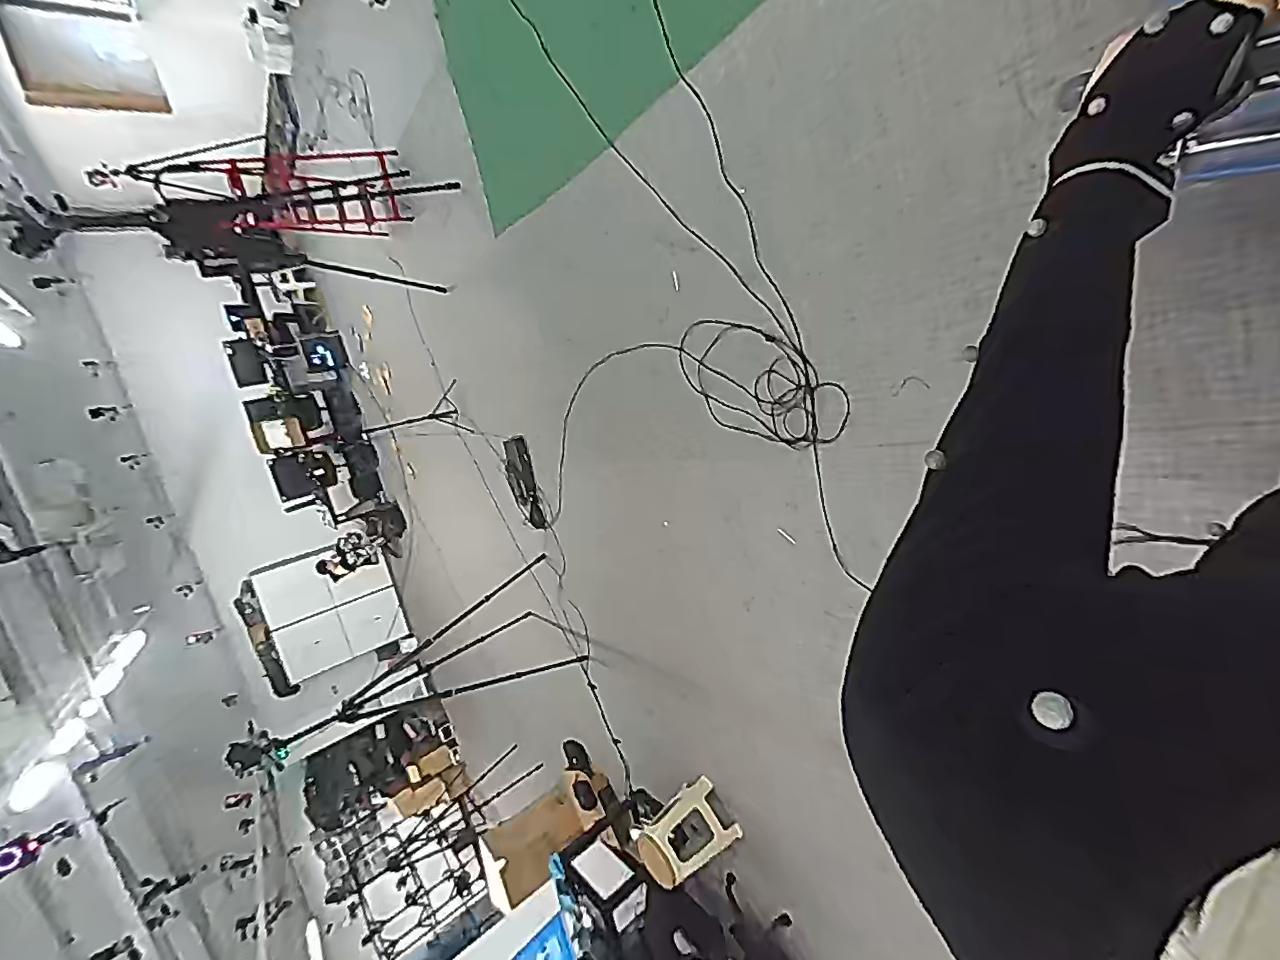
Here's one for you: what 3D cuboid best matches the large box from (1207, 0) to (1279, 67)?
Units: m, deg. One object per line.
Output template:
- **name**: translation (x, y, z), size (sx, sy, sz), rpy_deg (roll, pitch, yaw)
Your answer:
- **large box**: translation (0.907, -0.753, 0.582), size (0.320, 0.320, 0.408), rpy_deg (21, 122, 46)
